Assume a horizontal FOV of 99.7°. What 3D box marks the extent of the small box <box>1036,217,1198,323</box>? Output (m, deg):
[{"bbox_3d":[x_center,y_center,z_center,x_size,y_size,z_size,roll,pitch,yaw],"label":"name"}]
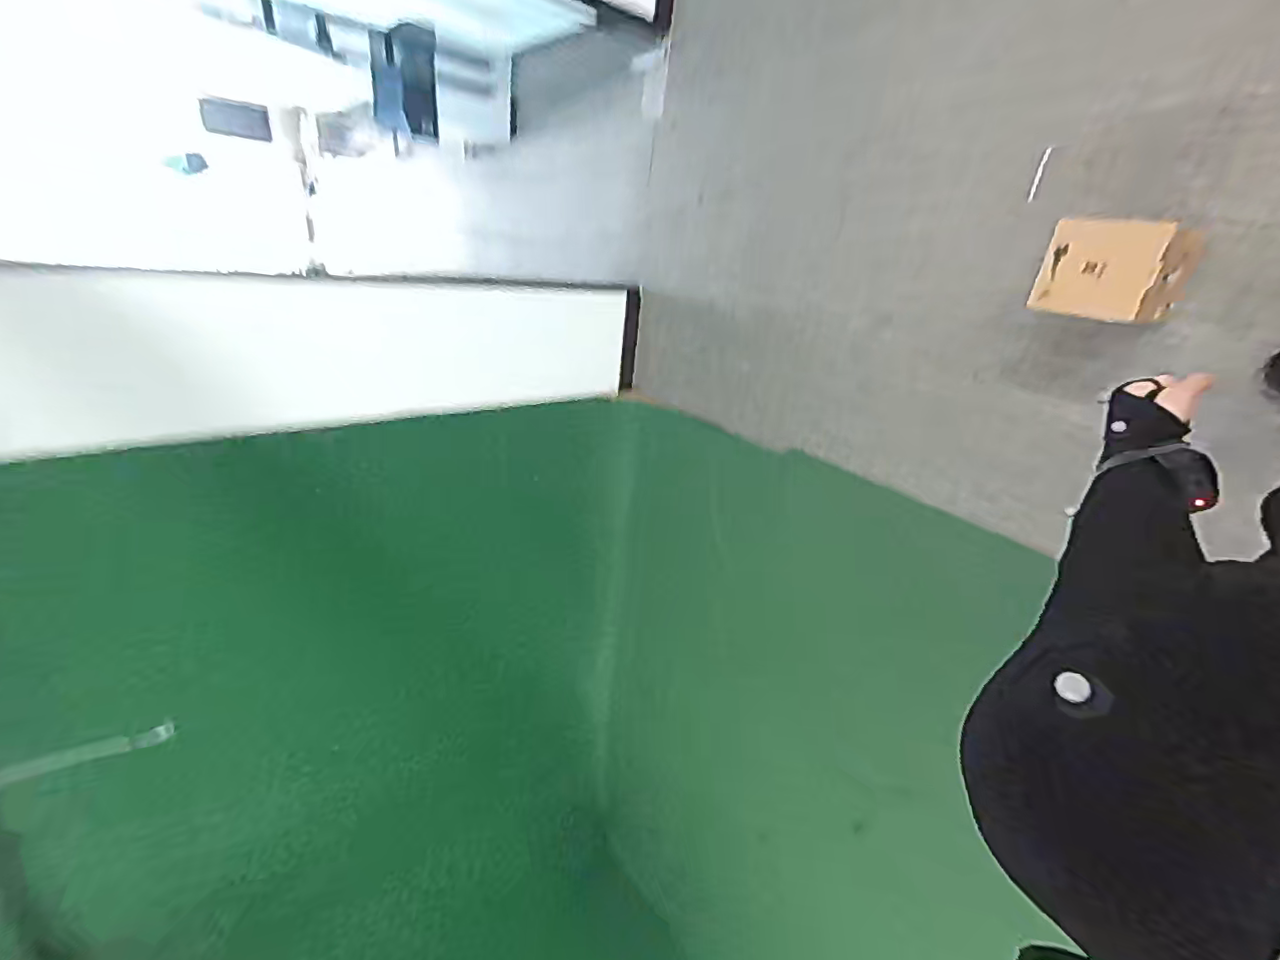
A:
[{"bbox_3d":[0.919,-0.403,1.041,0.179,0.176,0.168,32,123,43],"label":"small box"}]
